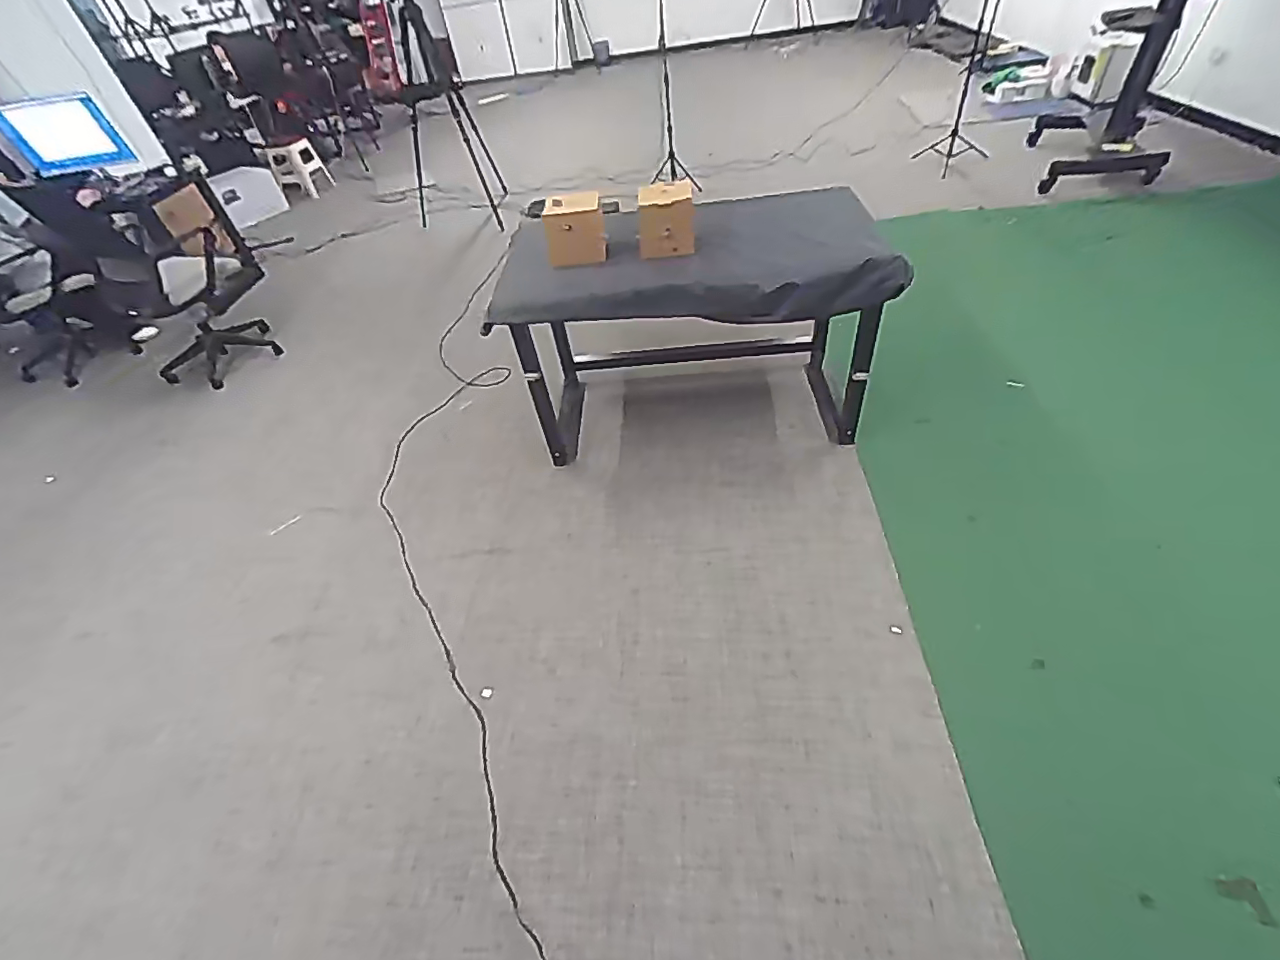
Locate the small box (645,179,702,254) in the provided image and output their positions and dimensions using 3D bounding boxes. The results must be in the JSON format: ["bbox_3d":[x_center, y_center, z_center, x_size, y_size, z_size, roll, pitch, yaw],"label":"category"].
[{"bbox_3d":[0.109,-0.835,1.727,0.168,0.176,0.179,-3,46,6],"label":"small box"}]

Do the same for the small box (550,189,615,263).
[{"bbox_3d":[-0.182,-0.822,1.758,0.179,0.176,0.168,-4,46,4],"label":"small box"}]
